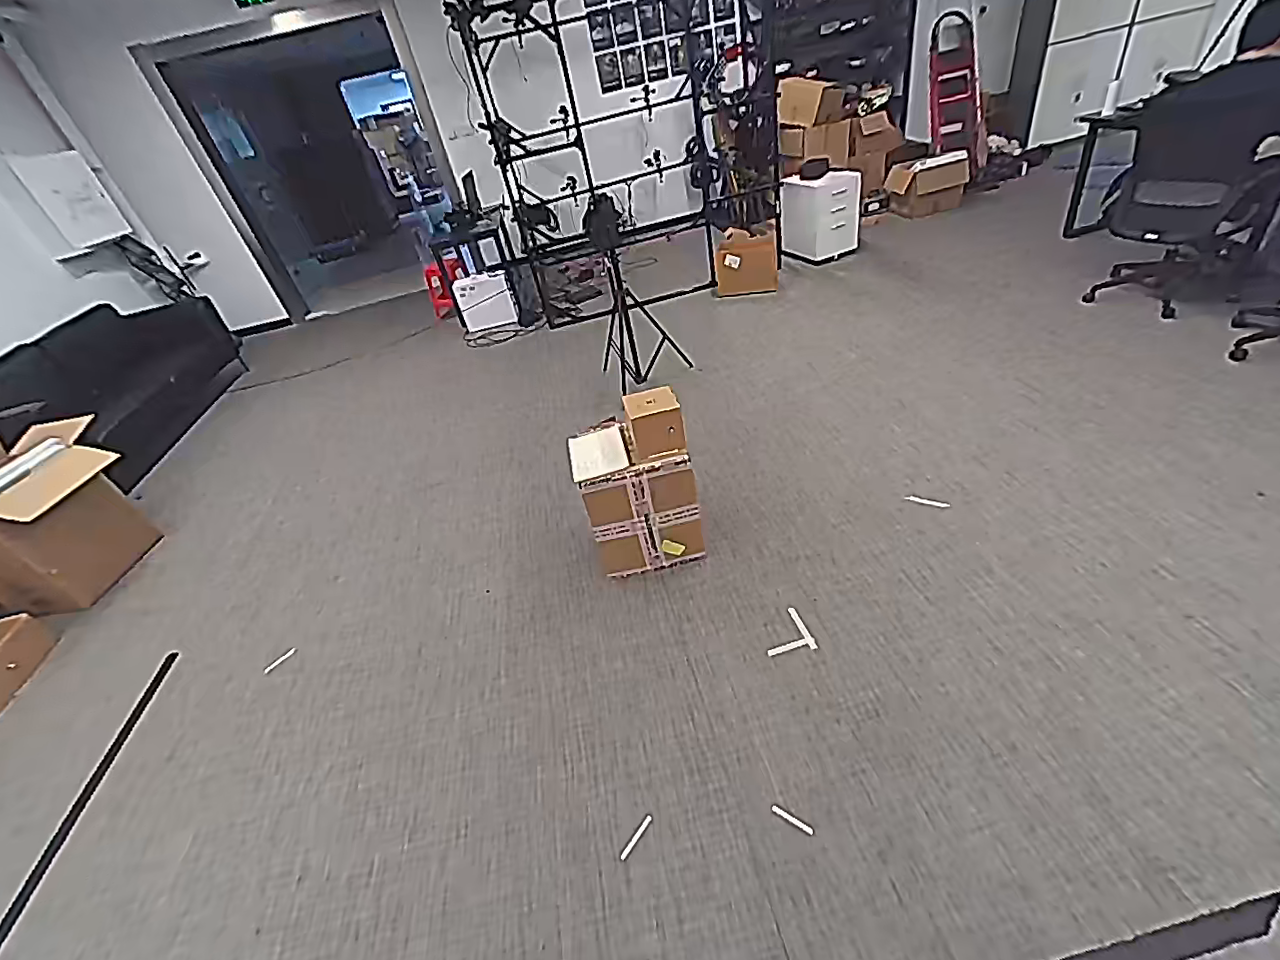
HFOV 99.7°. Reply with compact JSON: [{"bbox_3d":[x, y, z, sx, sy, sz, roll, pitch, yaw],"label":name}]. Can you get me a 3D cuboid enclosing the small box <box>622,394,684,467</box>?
[{"bbox_3d":[0.048,-0.170,1.869,0.179,0.176,0.168,-15,38,-4],"label":"small box"}]
